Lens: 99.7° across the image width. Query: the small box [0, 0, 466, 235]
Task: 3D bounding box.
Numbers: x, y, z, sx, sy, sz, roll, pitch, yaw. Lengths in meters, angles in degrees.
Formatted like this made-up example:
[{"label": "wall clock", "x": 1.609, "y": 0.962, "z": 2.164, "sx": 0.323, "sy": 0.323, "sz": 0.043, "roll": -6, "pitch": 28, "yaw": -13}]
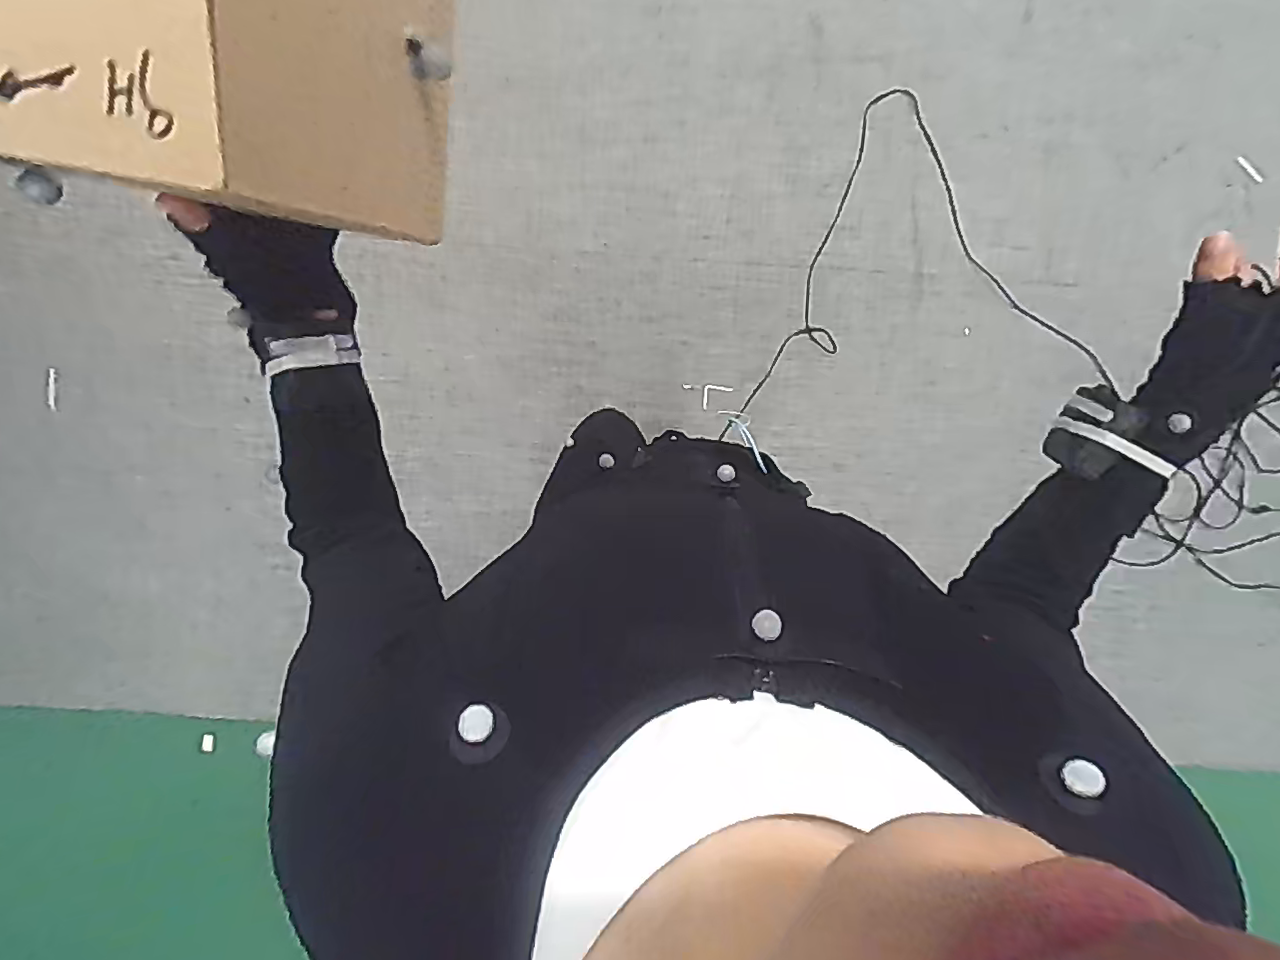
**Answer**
[{"label": "small box", "x": -0.189, "y": -0.224, "z": 0.234, "sx": 0.168, "sy": 0.176, "sz": 0.179, "roll": 13, "pitch": 109, "yaw": 3}]
